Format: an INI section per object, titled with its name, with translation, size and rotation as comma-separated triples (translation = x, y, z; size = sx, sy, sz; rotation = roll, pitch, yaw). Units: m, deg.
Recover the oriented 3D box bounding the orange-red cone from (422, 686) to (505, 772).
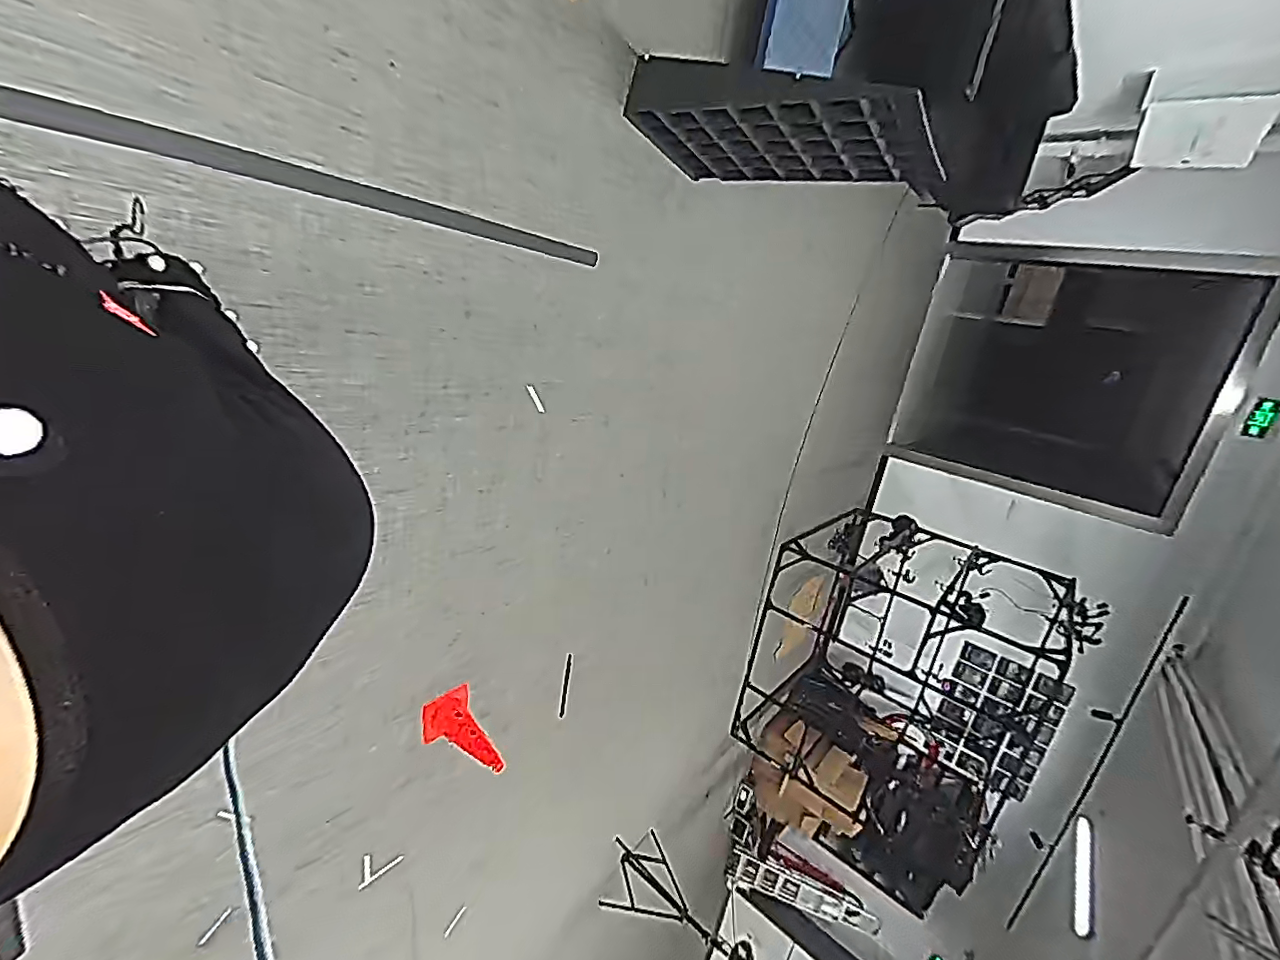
[orange-red cone]
translation = -0.634, 0.974, 2.029
size = 0.198, 0.360, 0.199
rotation = -17, 120, -49
